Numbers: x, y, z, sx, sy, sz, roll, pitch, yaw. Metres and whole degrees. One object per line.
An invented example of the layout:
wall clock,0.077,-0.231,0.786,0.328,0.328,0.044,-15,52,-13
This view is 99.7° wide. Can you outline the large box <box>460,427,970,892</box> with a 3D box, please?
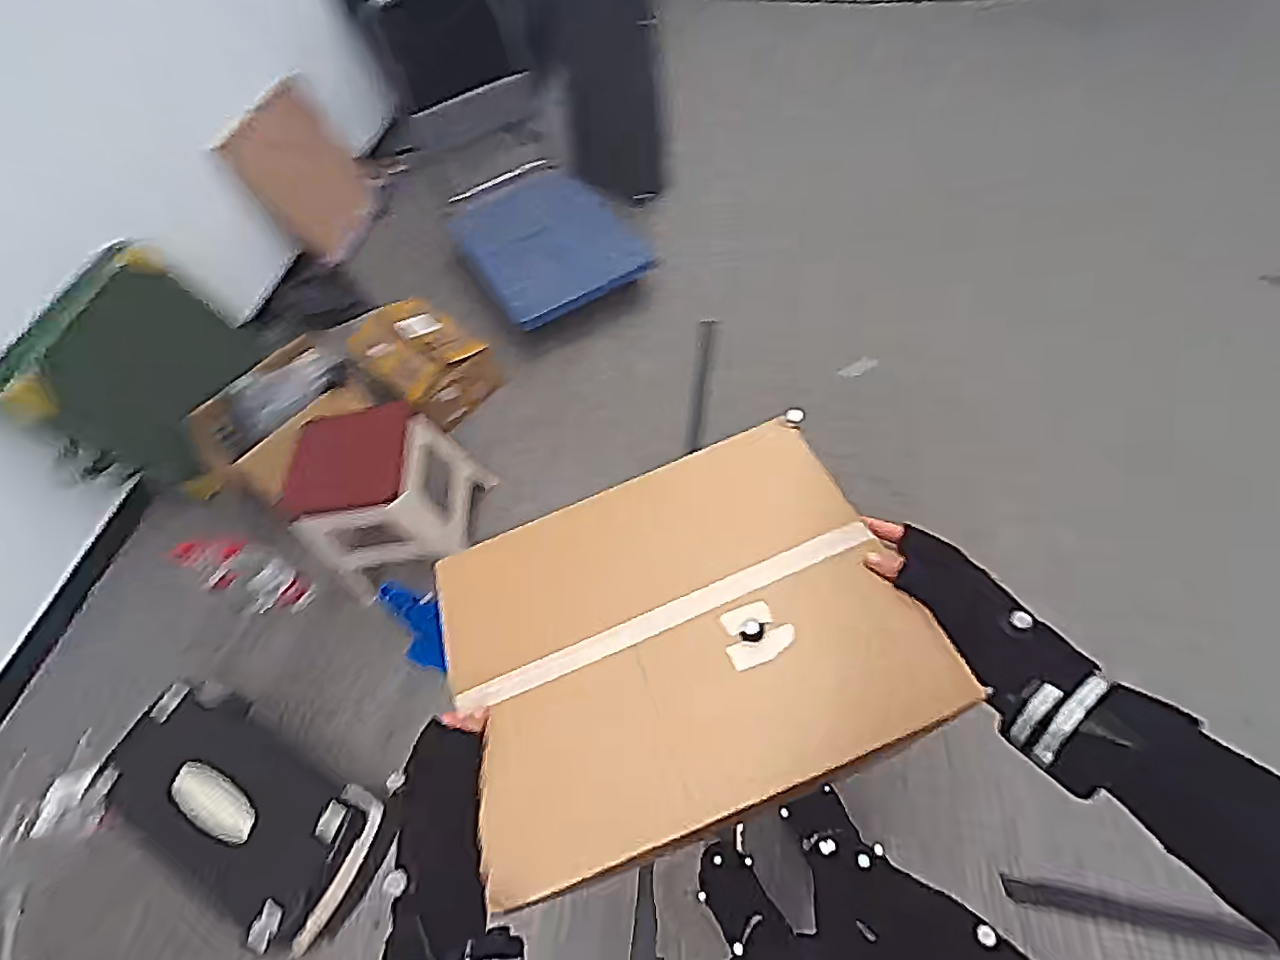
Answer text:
large box,0.063,0.211,0.626,0.408,0.320,0.320,-22,55,-1
